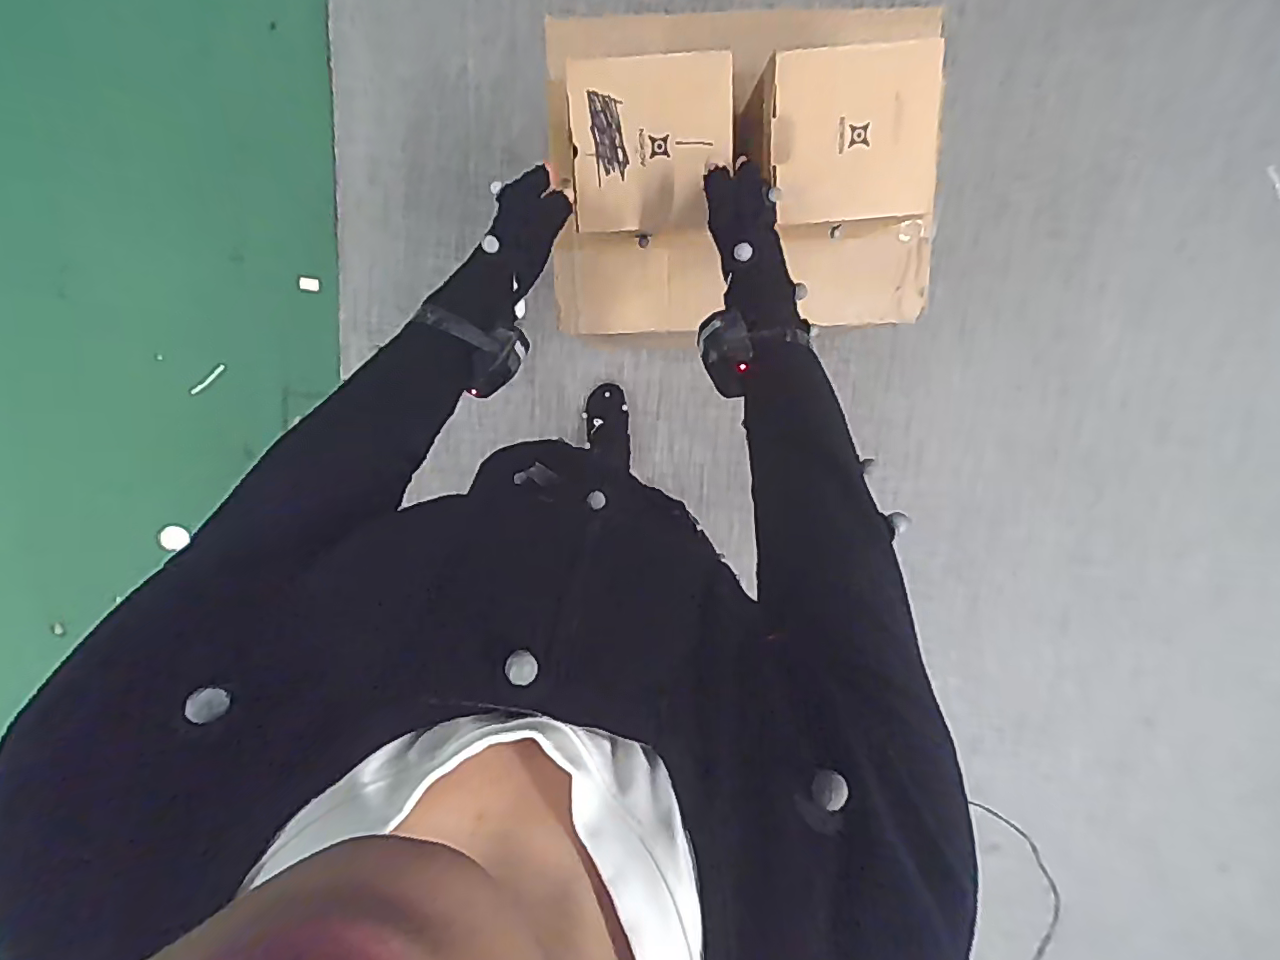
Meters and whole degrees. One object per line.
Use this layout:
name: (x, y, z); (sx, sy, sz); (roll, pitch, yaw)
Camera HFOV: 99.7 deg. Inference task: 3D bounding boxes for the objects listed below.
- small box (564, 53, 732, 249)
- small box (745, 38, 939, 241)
small box: (0.011, -0.380, 0.655); (0.179, 0.176, 0.168); (-3, 107, 0)
small box: (0.226, -0.393, 0.655); (0.179, 0.176, 0.168); (-5, 108, -1)
